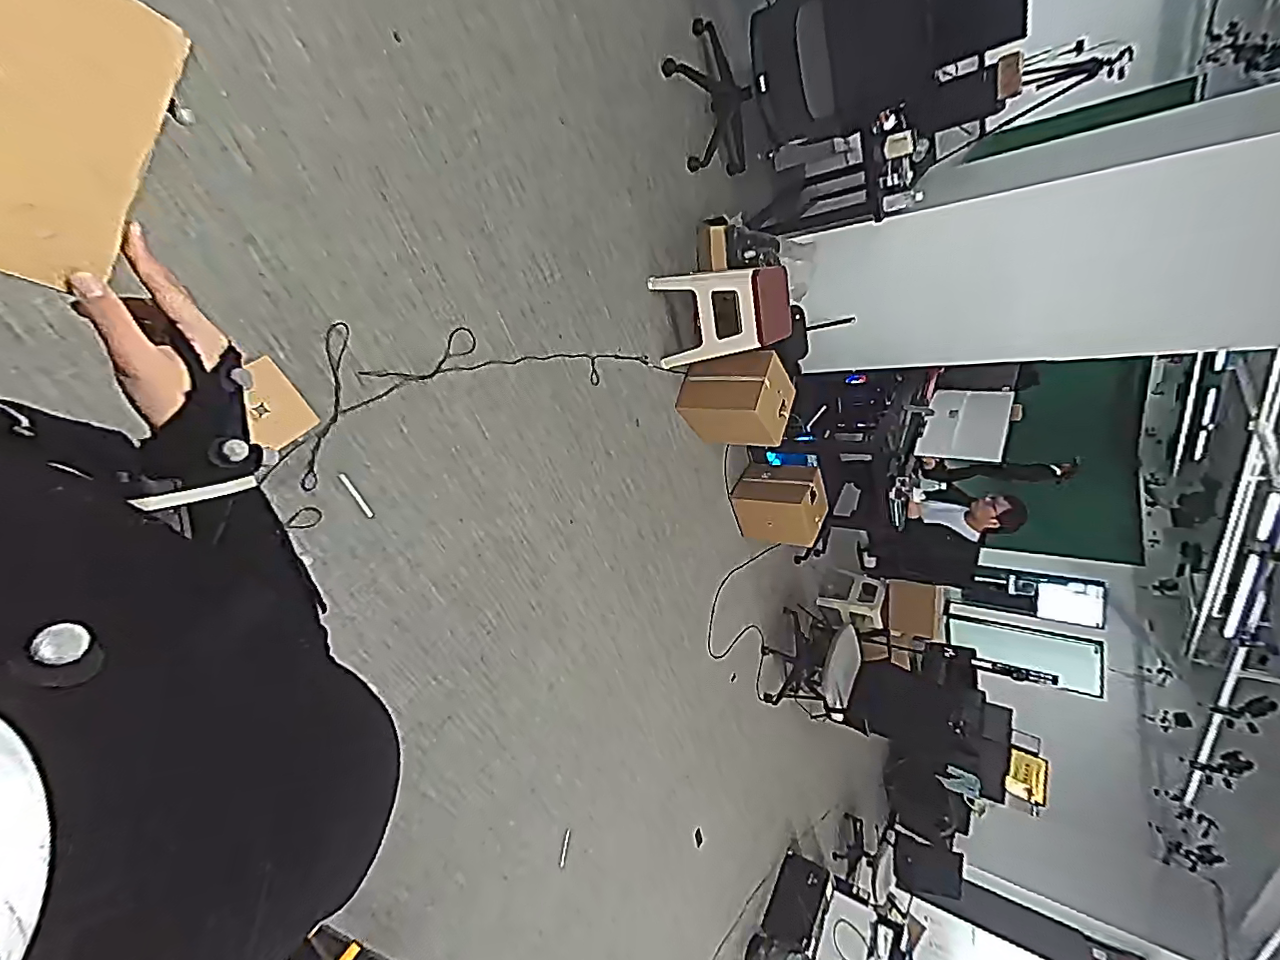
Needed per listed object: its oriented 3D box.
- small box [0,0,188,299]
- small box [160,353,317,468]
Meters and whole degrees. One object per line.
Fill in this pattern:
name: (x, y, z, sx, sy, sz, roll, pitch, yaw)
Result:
small box: (-0.401, -0.227, 0.316, 0.168, 0.176, 0.179, 18, 93, -48)
small box: (-0.819, -0.143, 1.104, 0.179, 0.176, 0.168, -50, 130, -36)
